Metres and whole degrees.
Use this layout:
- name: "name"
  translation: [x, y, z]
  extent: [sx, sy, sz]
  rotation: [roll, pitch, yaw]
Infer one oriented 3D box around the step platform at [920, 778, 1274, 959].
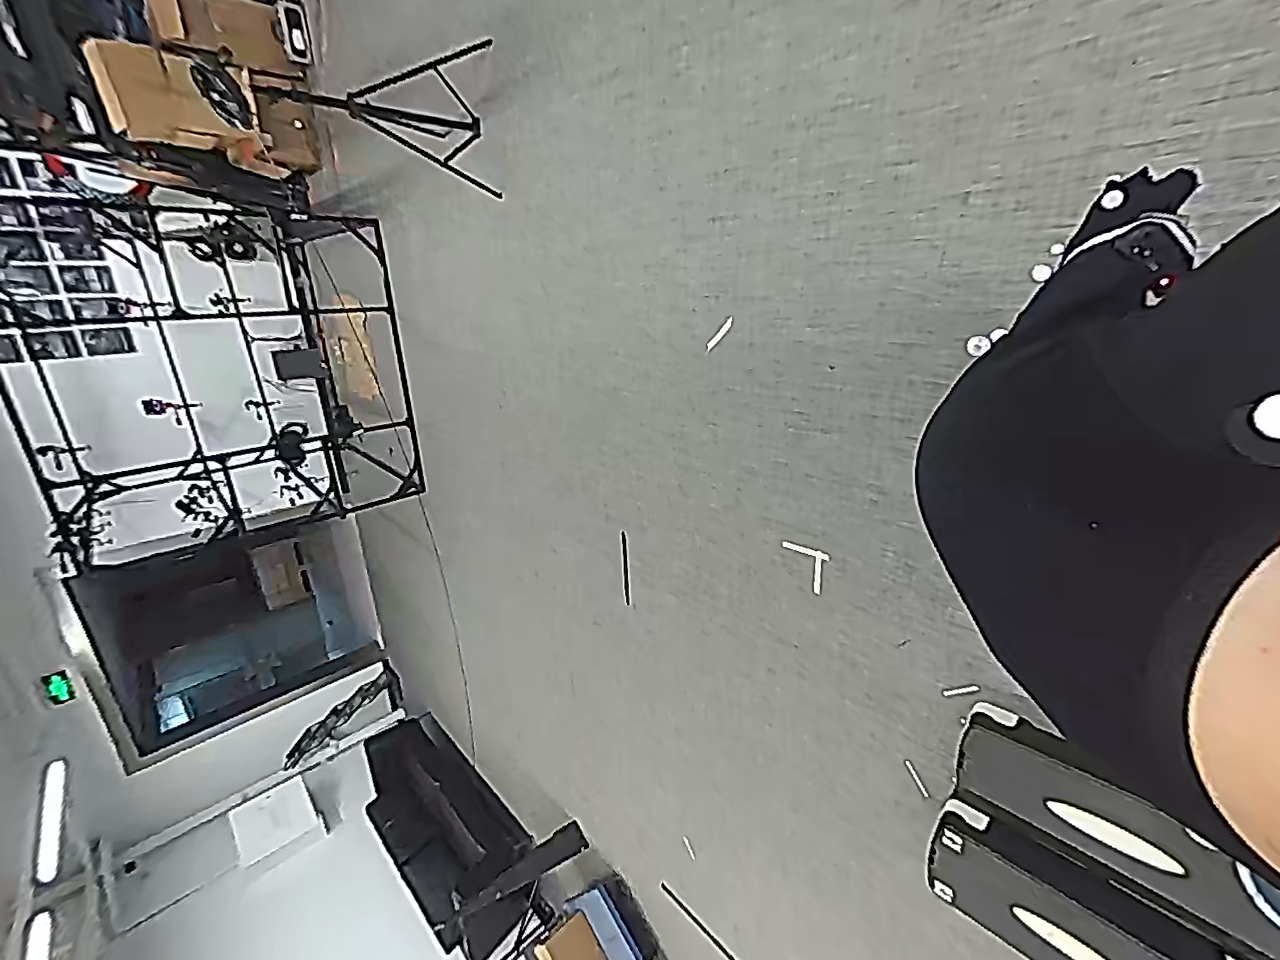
- name: "step platform"
  translation: [1.101, 1.105, 1.385]
  extent: [0.684, 0.204, 0.286]
  rotation: [17, 117, 46]
